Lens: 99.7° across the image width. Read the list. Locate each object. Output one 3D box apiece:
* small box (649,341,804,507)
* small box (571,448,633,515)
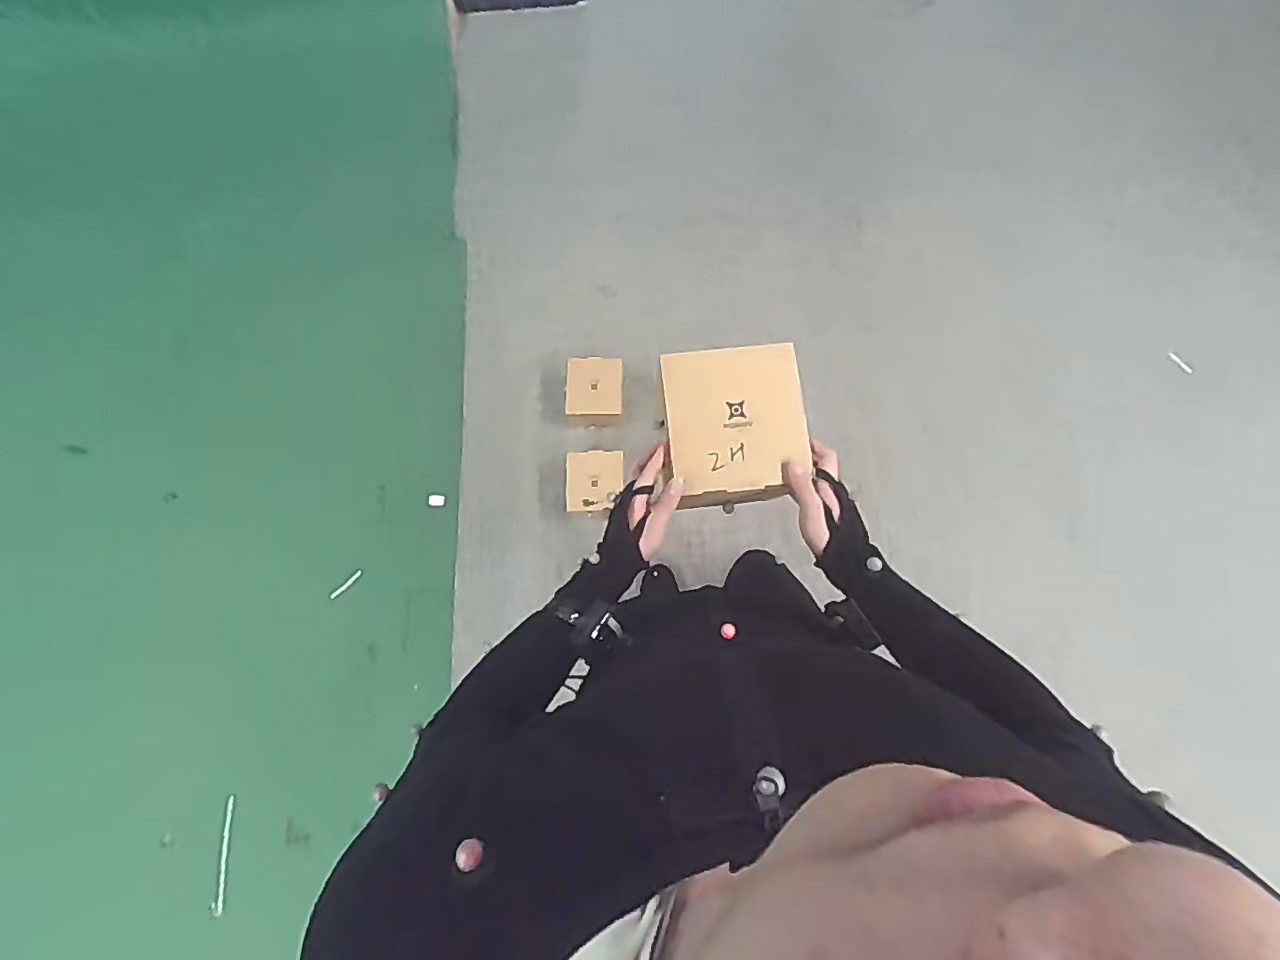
[{"bbox_3d":[0.103,-0.065,0.721,0.168,0.176,0.179,-6,82,-1],"label":"small box"},{"bbox_3d":[-0.111,0.008,1.620,0.168,0.176,0.179,-1,79,3],"label":"small box"}]
